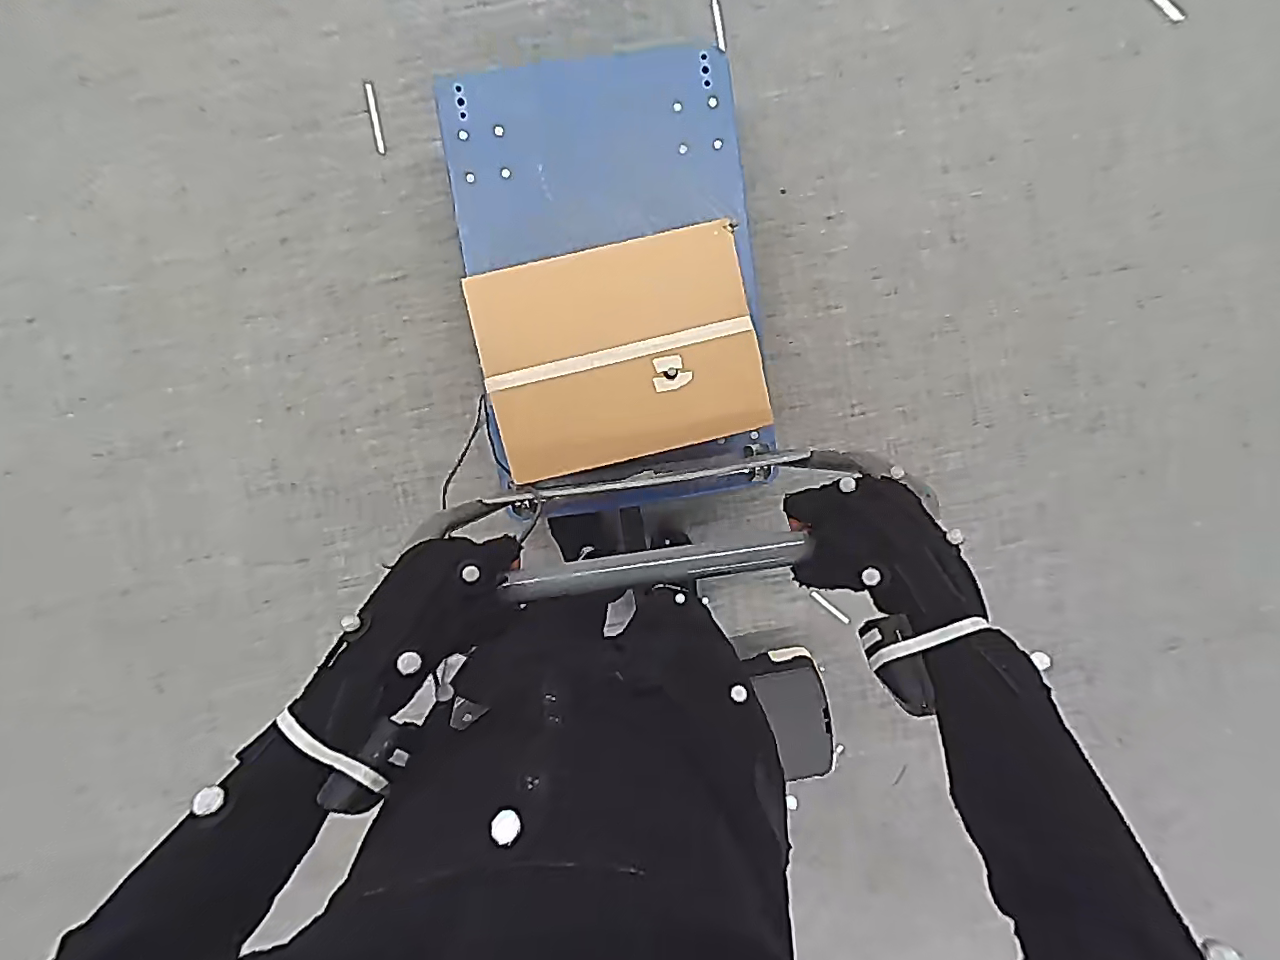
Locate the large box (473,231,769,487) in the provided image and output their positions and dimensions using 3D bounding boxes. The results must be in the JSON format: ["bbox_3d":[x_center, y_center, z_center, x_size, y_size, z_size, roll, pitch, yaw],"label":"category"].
[{"bbox_3d":[-0.033,-0.192,0.972,0.408,0.320,0.320,-13,95,-2],"label":"large box"}]
